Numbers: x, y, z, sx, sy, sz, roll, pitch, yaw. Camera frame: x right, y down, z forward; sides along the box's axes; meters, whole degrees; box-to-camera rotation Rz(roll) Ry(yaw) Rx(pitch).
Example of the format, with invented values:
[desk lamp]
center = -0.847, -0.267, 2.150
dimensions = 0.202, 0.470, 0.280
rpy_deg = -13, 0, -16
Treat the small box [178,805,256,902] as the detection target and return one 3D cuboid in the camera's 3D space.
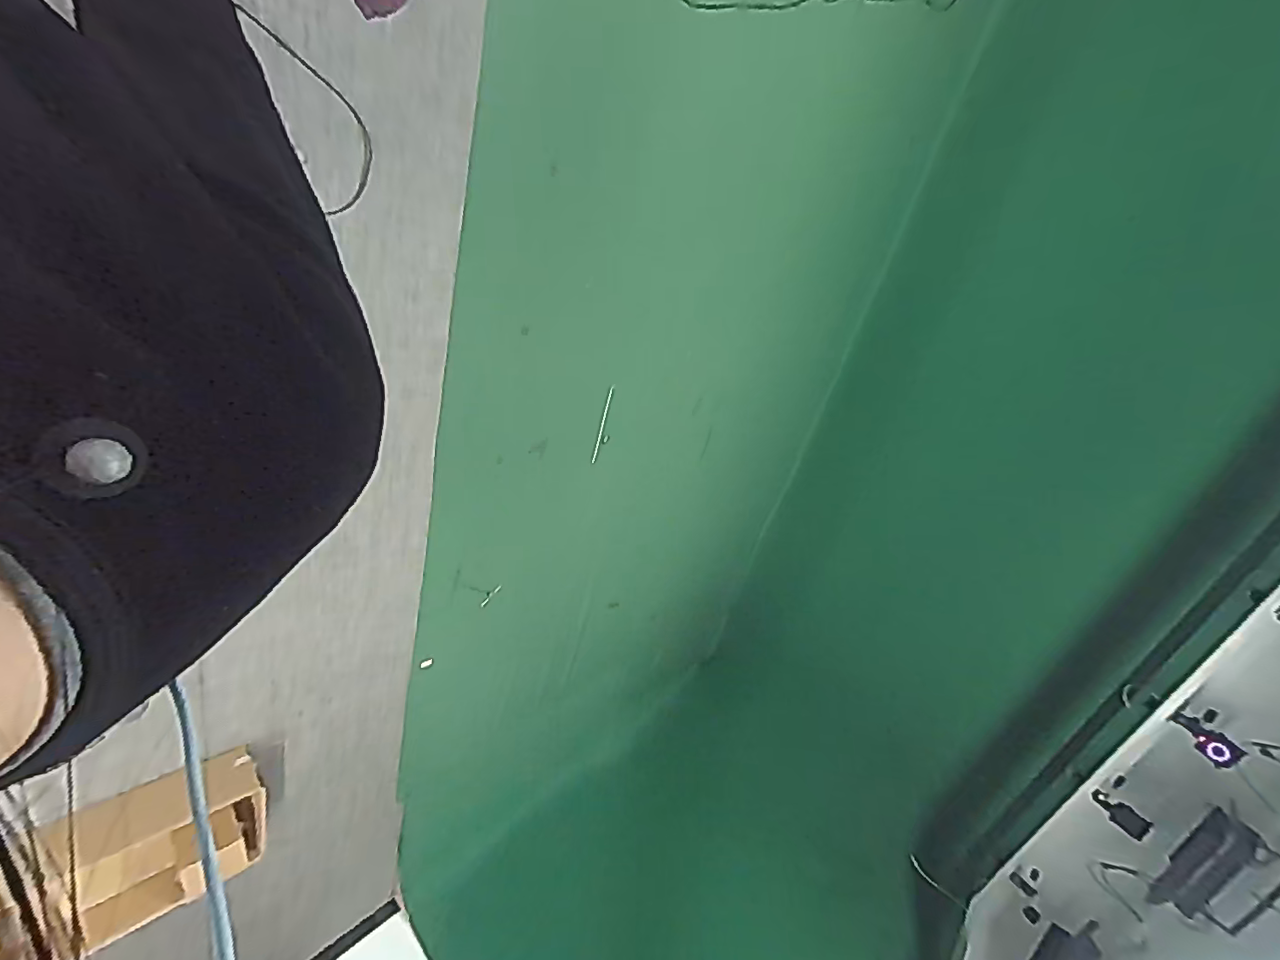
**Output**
[small box]
center = -1.389, 1.213, 1.775
dimensions = 0.168, 0.176, 0.179
rpy_deg = -14, 128, -45
